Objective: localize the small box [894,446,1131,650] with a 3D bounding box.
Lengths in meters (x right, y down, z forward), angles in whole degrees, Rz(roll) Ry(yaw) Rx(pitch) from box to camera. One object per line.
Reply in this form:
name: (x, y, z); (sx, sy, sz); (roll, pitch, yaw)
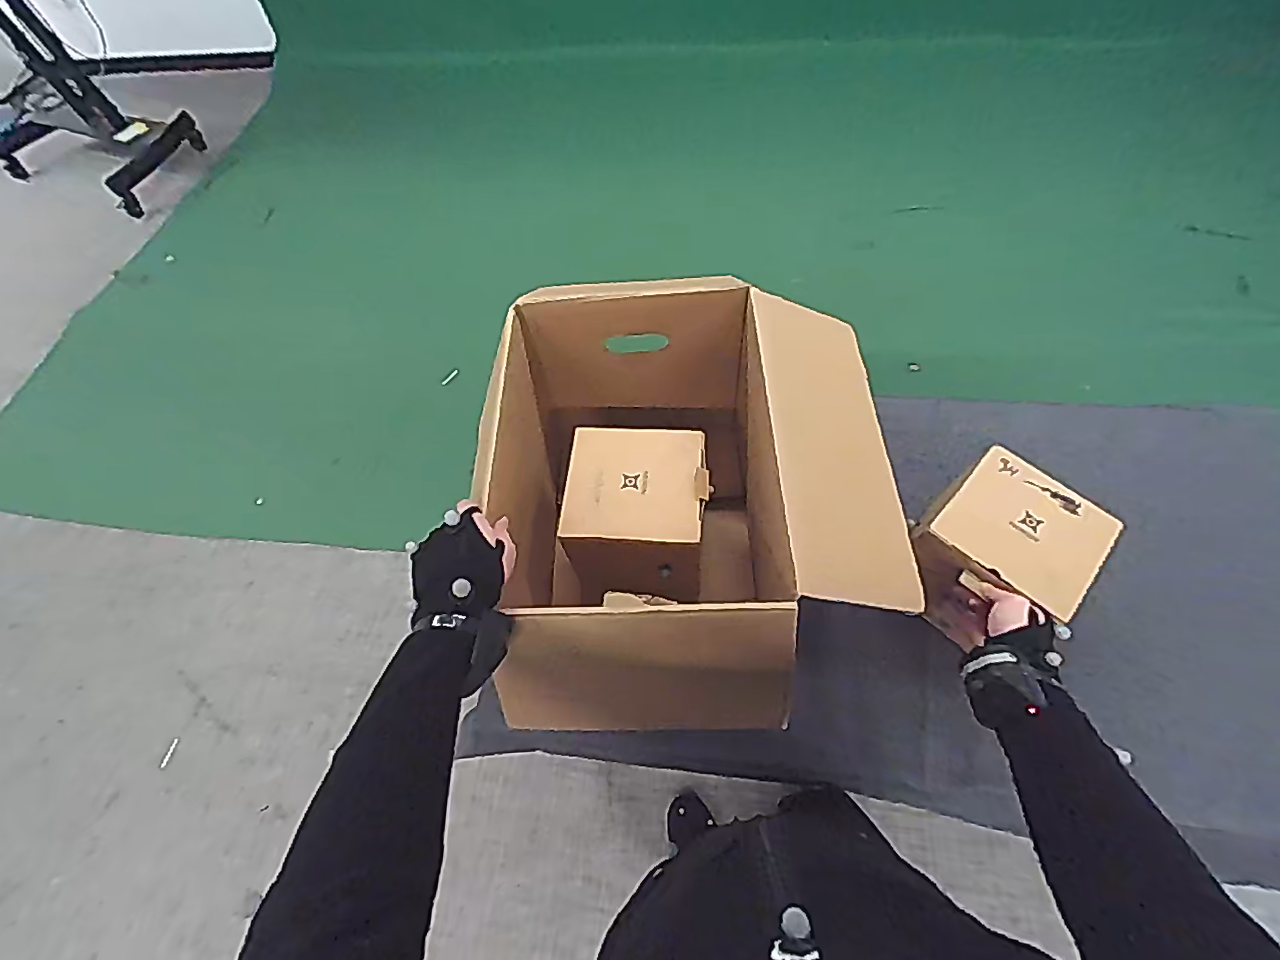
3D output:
small box: (0.466, 0.096, 0.711); (0.179, 0.176, 0.168); (-38, 65, -18)
